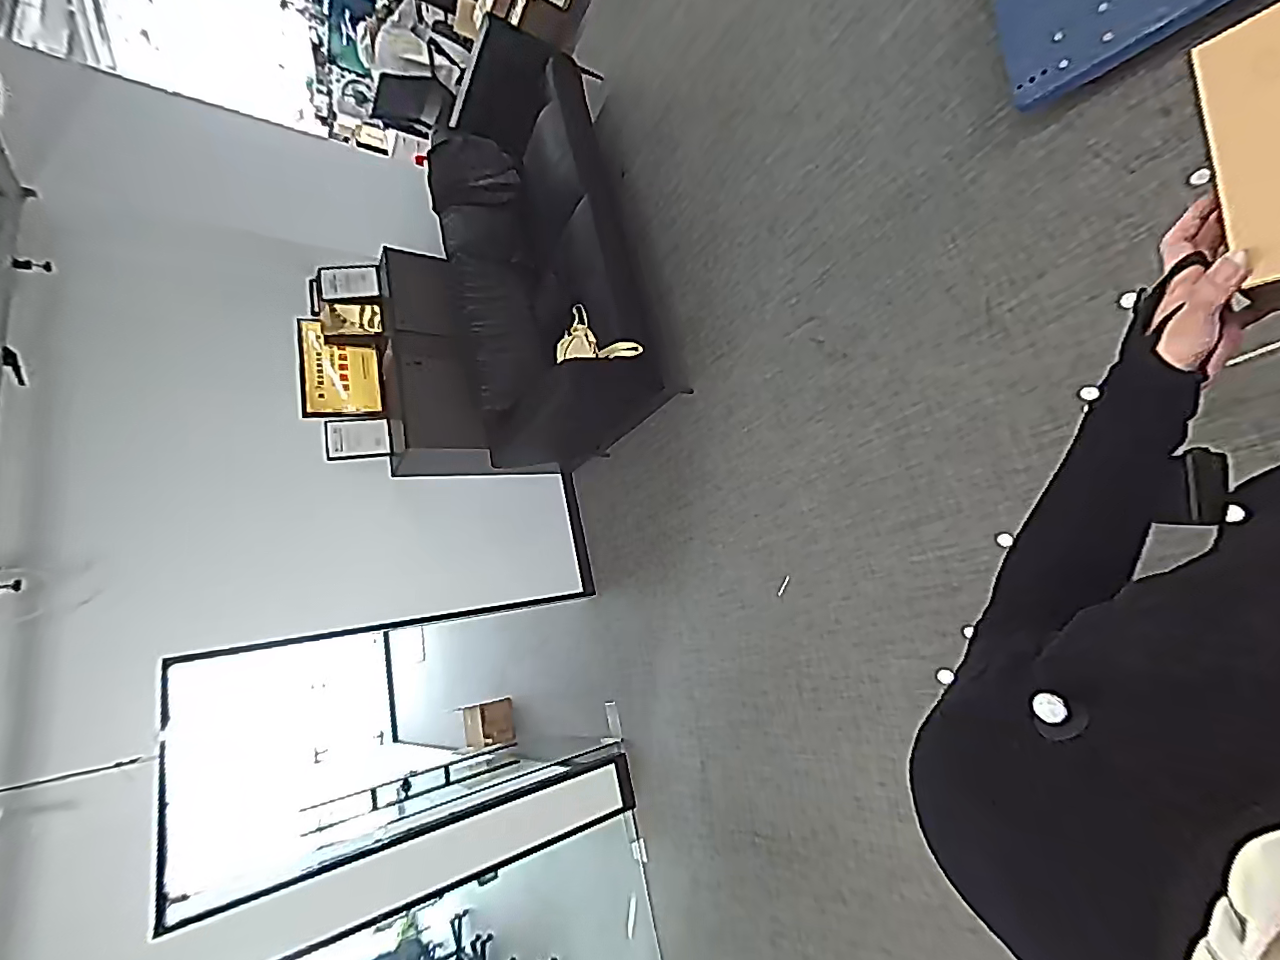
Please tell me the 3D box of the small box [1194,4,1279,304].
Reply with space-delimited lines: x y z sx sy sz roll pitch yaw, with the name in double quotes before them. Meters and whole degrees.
"small box" 0.516 -0.238 0.369 0.168 0.176 0.179 -10 88 53
